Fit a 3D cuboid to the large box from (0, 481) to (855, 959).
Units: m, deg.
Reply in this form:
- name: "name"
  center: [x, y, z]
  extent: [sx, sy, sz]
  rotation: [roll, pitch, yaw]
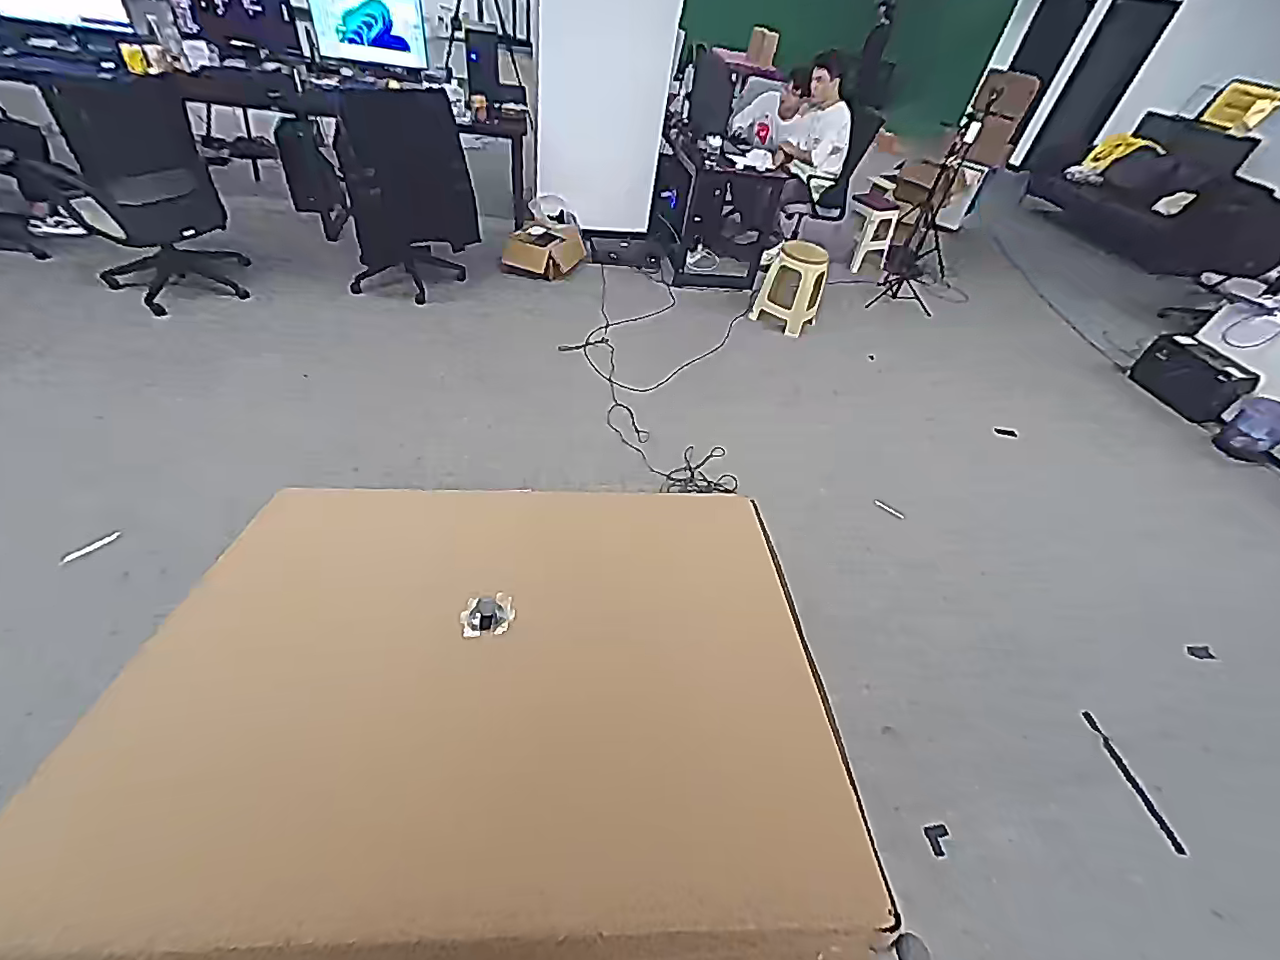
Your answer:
- name: "large box"
  center: [-0.114, 0.214, 0.429]
  extent: [0.408, 0.320, 0.320]
  rotation: [-1, 37, -3]
